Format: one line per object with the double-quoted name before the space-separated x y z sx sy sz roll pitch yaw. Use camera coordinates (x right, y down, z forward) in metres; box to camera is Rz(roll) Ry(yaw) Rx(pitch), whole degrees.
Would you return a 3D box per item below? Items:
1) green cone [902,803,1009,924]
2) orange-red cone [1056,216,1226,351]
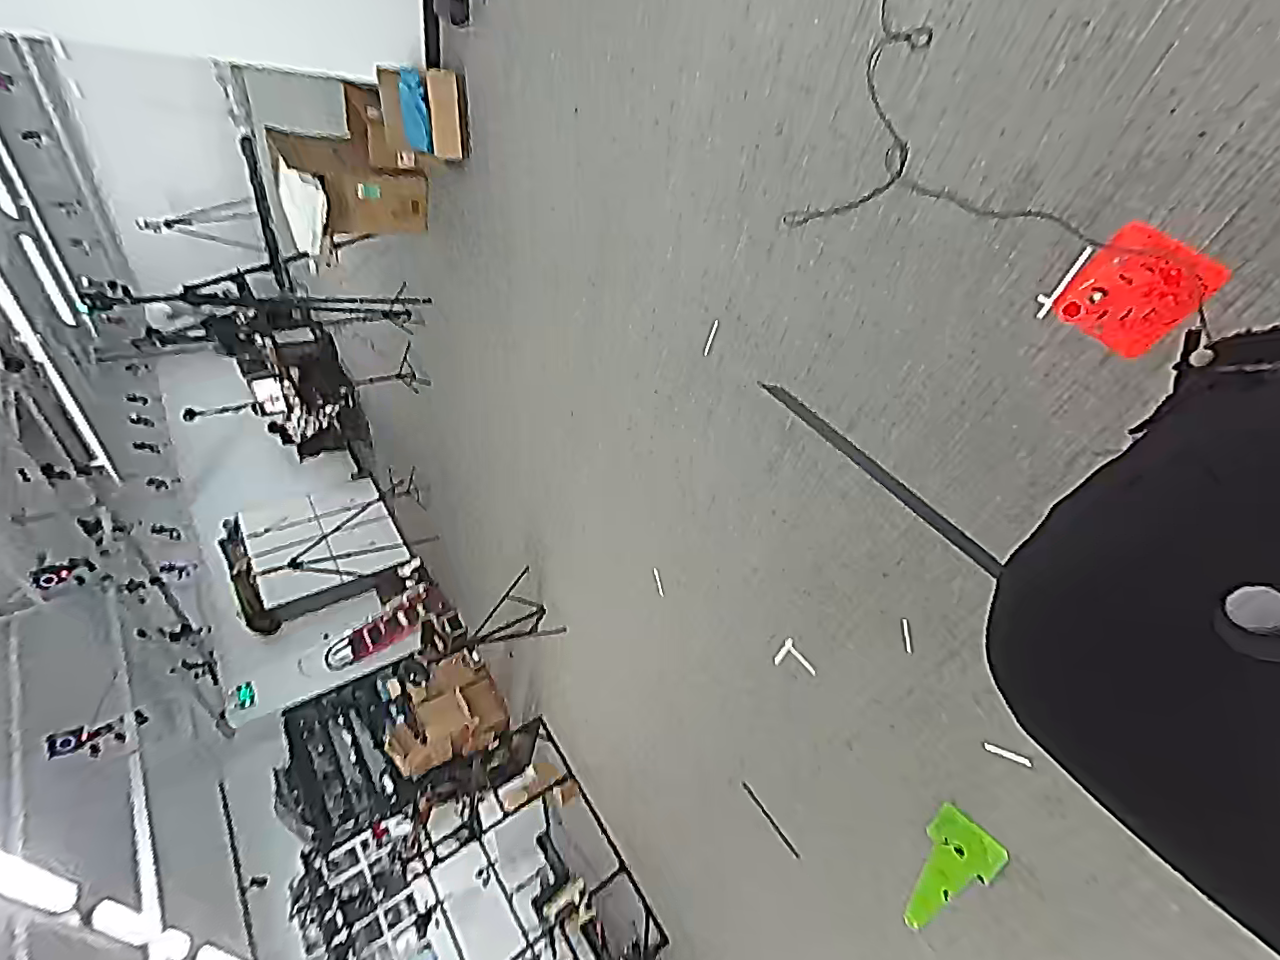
"green cone" 0.919 1.212 1.648 0.202 0.368 0.200 36 133 42
"orange-red cone" 0.837 -0.331 0.968 0.199 0.360 0.198 52 143 23
